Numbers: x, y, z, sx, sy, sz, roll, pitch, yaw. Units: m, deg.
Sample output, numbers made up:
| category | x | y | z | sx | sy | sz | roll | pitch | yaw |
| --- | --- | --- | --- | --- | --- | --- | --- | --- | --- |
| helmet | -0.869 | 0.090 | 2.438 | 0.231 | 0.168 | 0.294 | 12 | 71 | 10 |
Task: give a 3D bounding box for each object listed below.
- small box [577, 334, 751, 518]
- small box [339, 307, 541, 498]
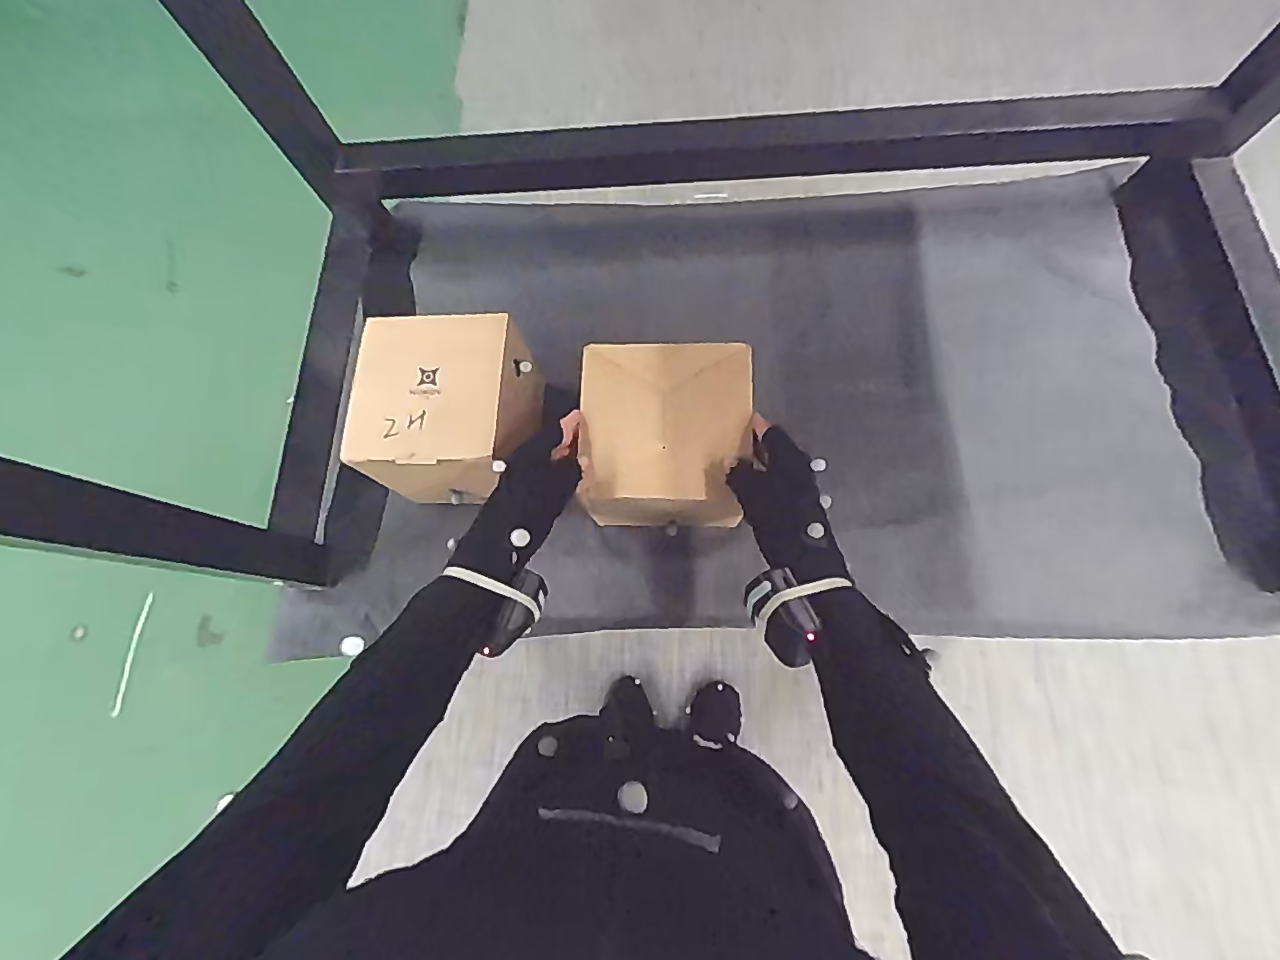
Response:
| category | x | y | z | sx | sy | sz | roll | pitch | yaw |
| --- | --- | --- | --- | --- | --- | --- | --- | --- | --- |
| small box | 0.026 | -0.053 | 0.619 | 0.179 | 0.176 | 0.168 | 0 | 75 | 5 |
| small box | -0.222 | -0.086 | 0.655 | 0.168 | 0.176 | 0.179 | 0 | 72 | 5 |
